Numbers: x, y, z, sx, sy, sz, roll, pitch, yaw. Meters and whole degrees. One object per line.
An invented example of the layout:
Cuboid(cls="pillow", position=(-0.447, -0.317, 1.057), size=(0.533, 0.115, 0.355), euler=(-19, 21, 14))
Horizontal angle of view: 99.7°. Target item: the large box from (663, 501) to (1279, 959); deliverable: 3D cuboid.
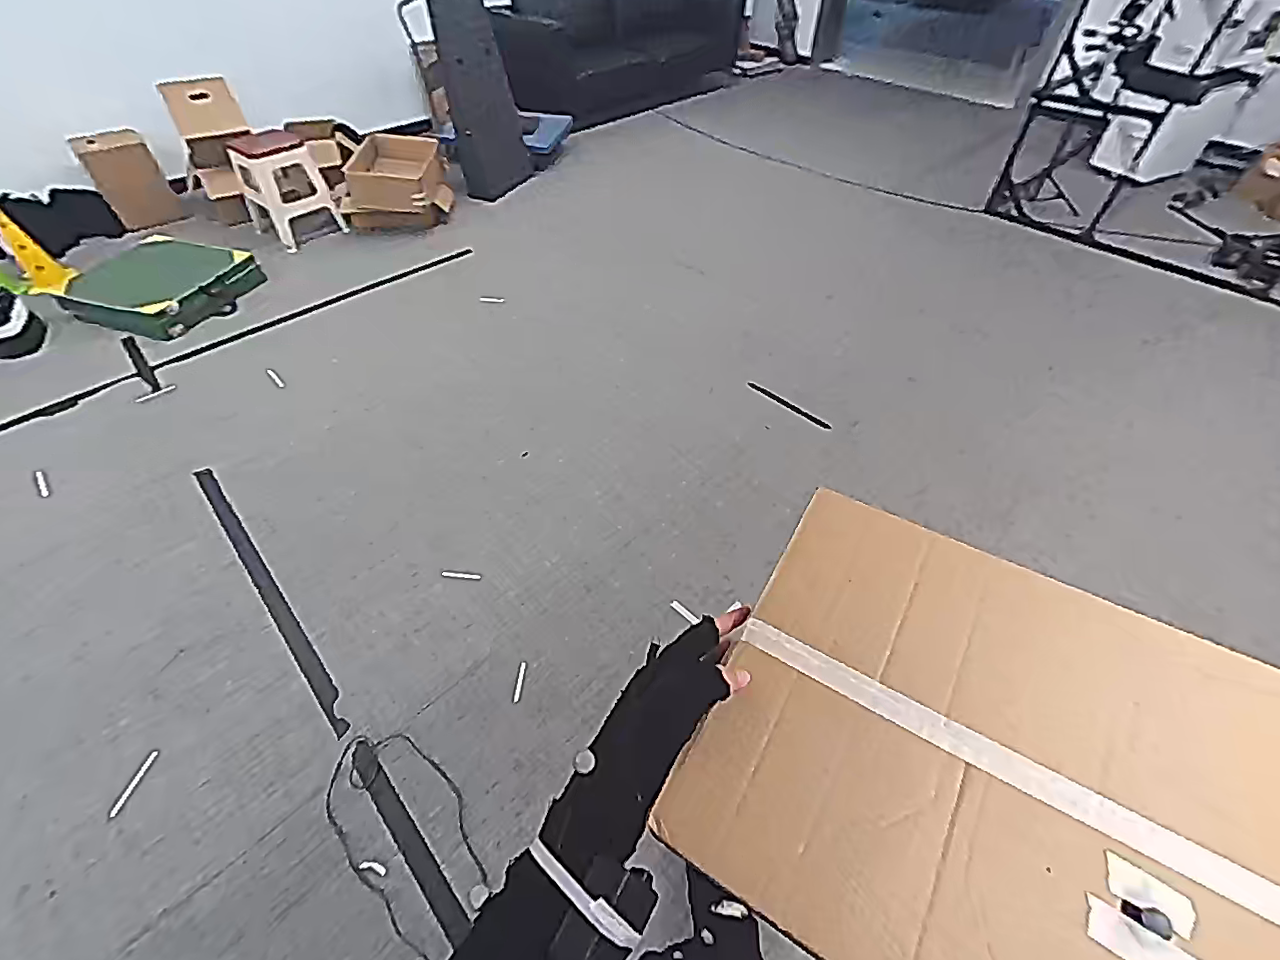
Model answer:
Cuboid(cls="large box", position=(0.271, 0.285, 0.492), size=(0.408, 0.320, 0.320), euler=(24, 62, 22))
